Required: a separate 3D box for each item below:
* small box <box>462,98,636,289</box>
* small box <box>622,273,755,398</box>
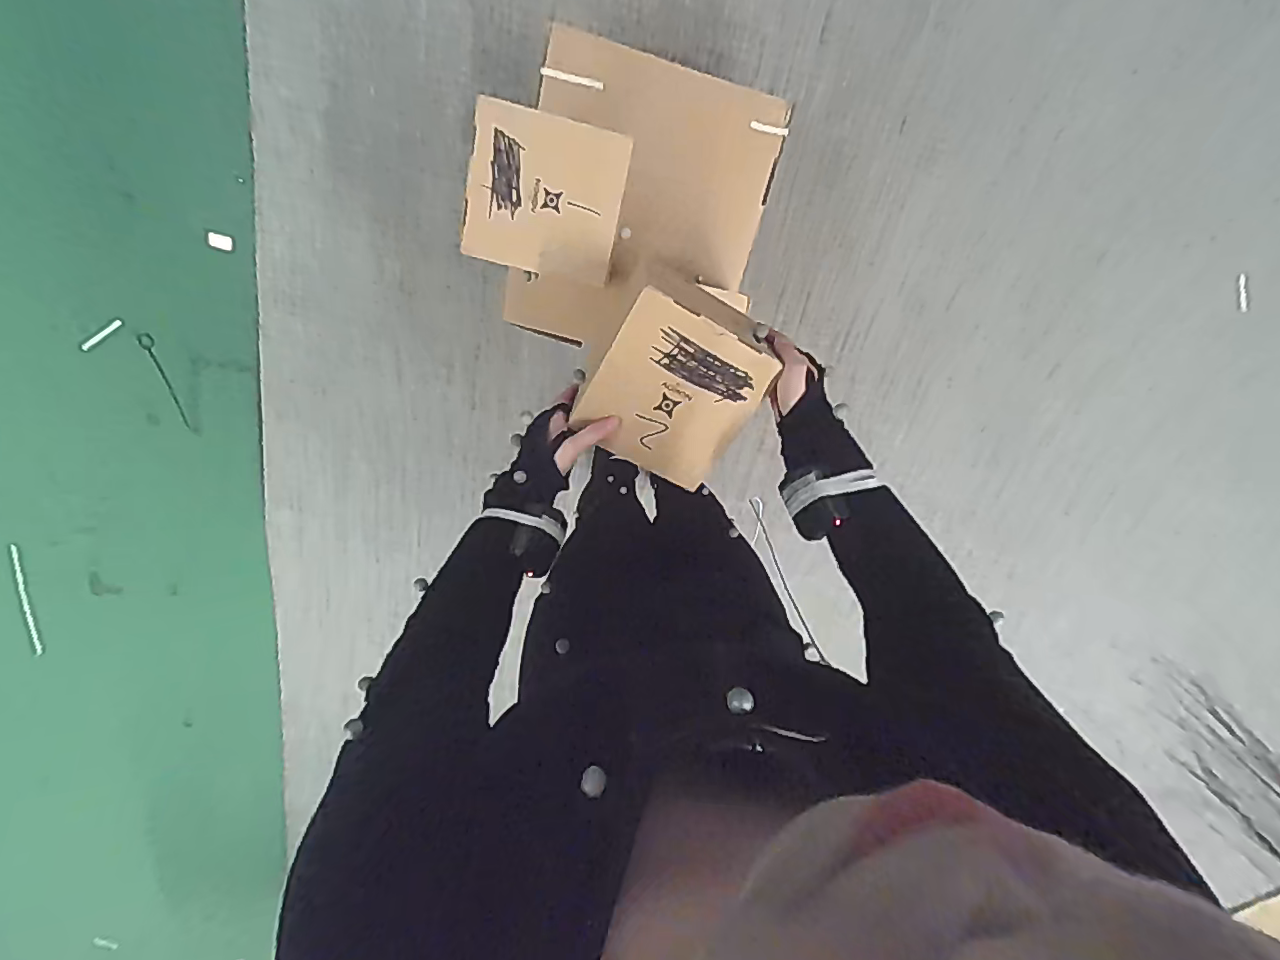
[{"bbox_3d":[-0.108,-0.347,0.690,0.179,0.176,0.168,12,110,-6],"label":"small box"},{"bbox_3d":[0.071,-0.249,0.915,0.179,0.176,0.168,10,109,-7],"label":"small box"}]
